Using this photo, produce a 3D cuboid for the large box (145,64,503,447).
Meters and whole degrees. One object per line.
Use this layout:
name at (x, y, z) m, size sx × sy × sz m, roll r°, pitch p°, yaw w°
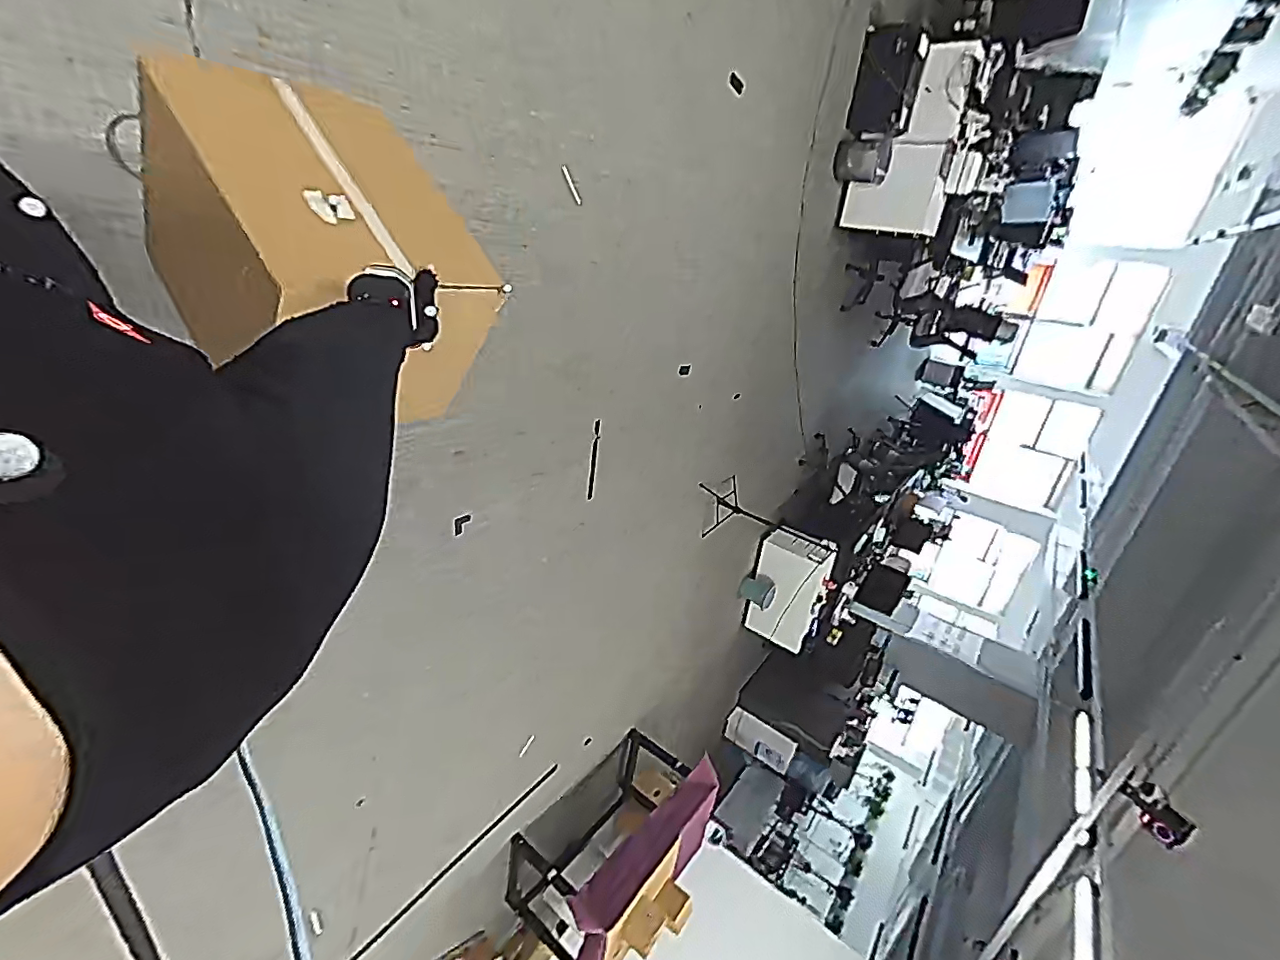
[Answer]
large box at (-0.499, -0.322, 0.848) m, size 0.320 × 0.408 × 0.320 m, roll -24°, pitch 166°, yaw -49°
